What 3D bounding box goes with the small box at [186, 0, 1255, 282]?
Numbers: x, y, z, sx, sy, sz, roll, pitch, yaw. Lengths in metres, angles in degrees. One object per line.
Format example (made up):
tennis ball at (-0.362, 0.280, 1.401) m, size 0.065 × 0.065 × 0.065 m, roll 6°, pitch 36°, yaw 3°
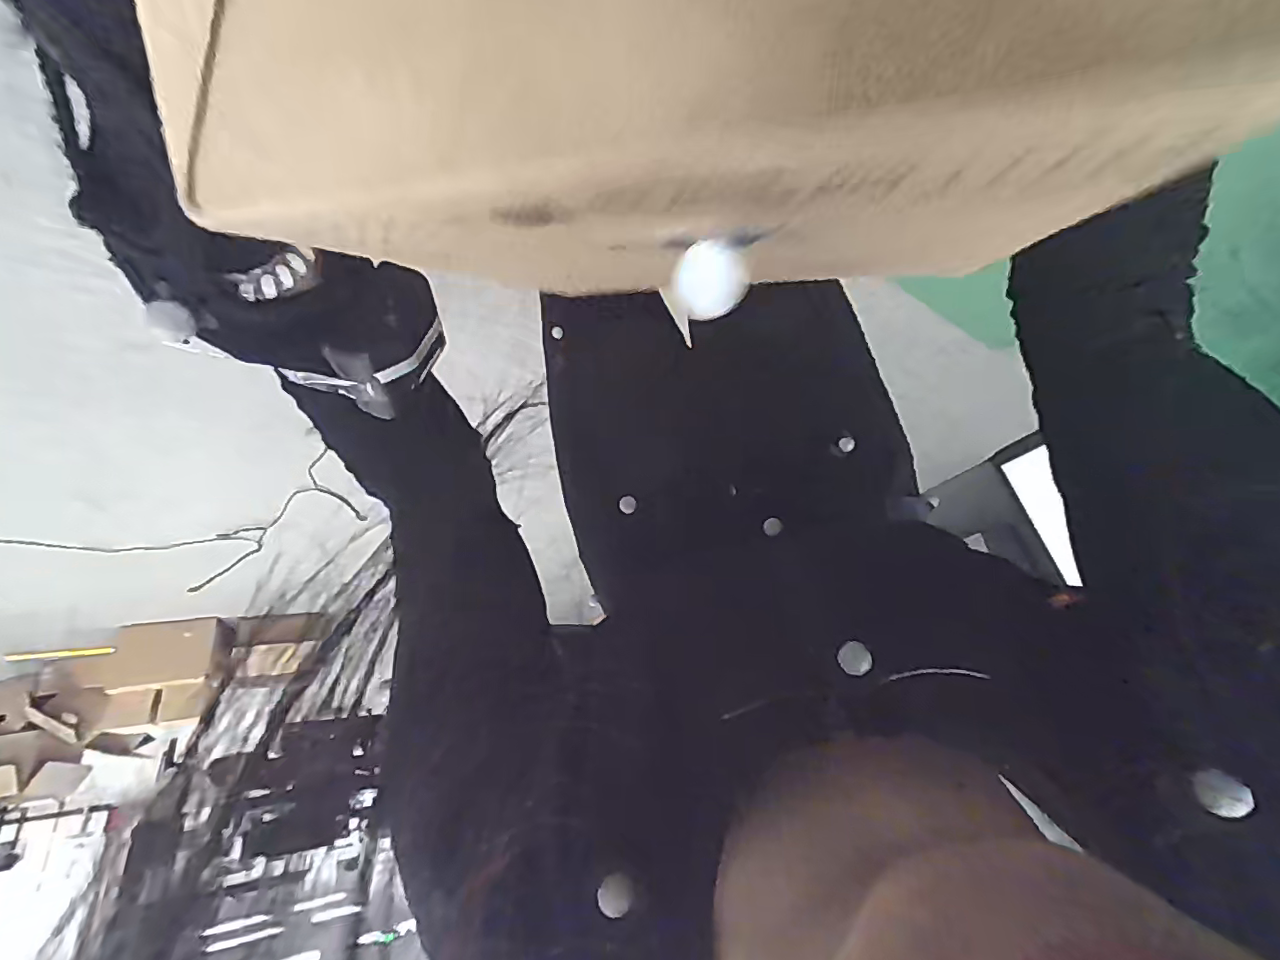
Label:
small box at (0.017, -0.146, 0.132) m, size 0.168 × 0.179 × 0.176 m, roll 6°, pitch -163°, yaw 18°
